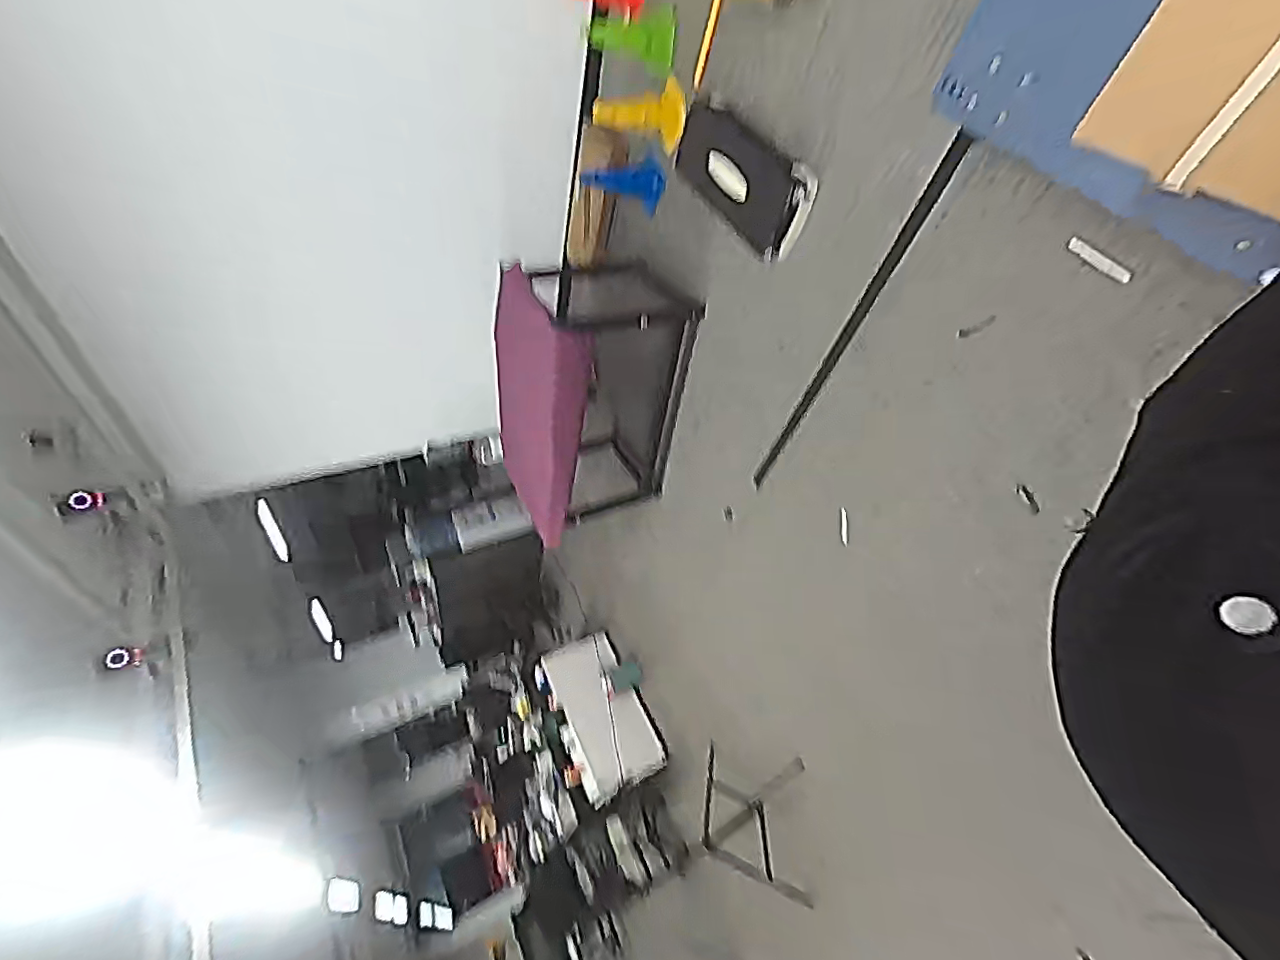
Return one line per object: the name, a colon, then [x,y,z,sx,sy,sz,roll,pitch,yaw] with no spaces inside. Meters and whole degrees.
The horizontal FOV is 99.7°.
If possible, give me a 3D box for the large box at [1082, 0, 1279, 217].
large box: [0.889,-0.566,0.654,0.320,0.320,0.408,54,145,33]
